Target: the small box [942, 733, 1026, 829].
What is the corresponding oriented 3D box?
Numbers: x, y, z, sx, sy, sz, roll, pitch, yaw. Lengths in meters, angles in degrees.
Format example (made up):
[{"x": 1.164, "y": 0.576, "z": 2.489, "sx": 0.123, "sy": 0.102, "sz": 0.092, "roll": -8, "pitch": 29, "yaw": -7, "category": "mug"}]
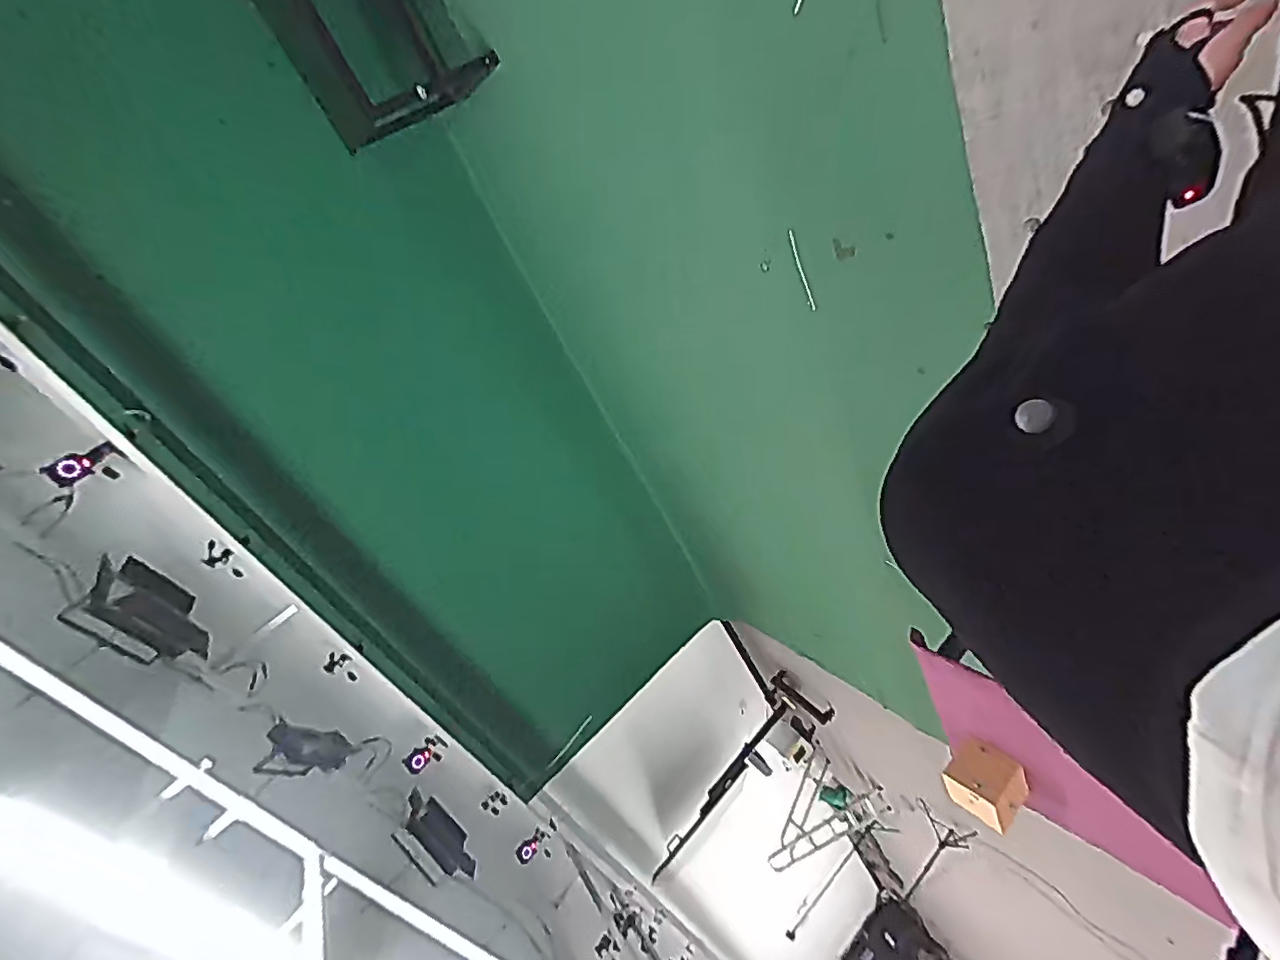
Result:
[{"x": 1.122, "y": 0.972, "z": 1.758, "sx": 0.168, "sy": 0.176, "sz": 0.179, "roll": 17, "pitch": 143, "yaw": 57, "category": "small box"}]
